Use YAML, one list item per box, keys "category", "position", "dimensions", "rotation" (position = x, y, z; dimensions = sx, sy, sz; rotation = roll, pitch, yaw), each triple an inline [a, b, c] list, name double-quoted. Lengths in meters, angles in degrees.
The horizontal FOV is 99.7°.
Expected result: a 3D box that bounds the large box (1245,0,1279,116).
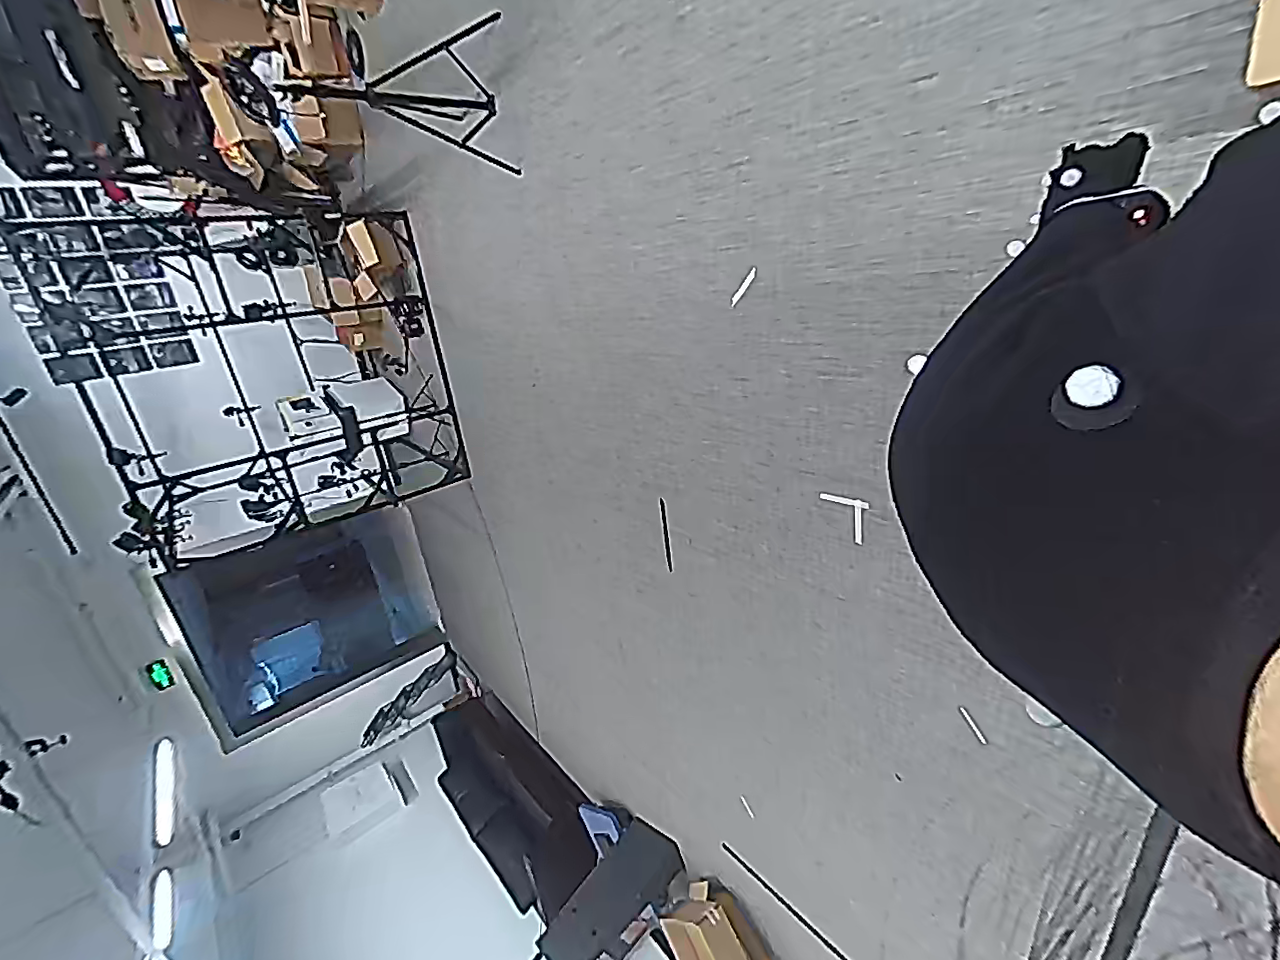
- category: "large box"
  position: [1.044, -0.685, 0.635]
  dimensions: [0.408, 0.320, 0.320]
  rotation: [13, 118, 49]
